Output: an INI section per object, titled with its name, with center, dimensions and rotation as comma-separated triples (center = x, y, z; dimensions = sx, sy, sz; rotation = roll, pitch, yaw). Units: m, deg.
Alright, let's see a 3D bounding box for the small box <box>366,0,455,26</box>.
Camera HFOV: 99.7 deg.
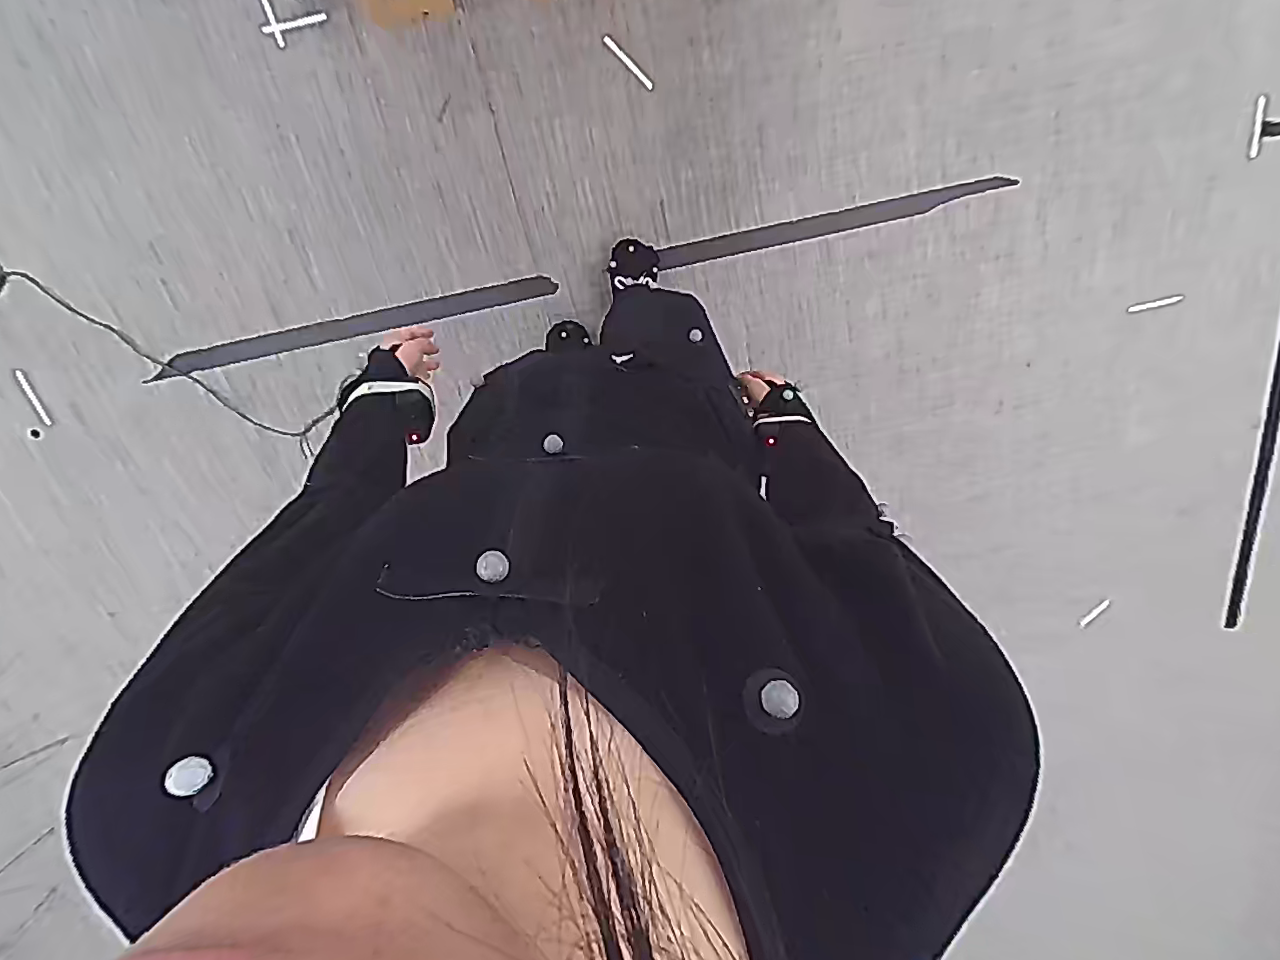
[small box]
center = -0.474, -1.023, 1.034
dimensions = 0.168, 0.176, 0.179
rotation = -12, 109, -1
